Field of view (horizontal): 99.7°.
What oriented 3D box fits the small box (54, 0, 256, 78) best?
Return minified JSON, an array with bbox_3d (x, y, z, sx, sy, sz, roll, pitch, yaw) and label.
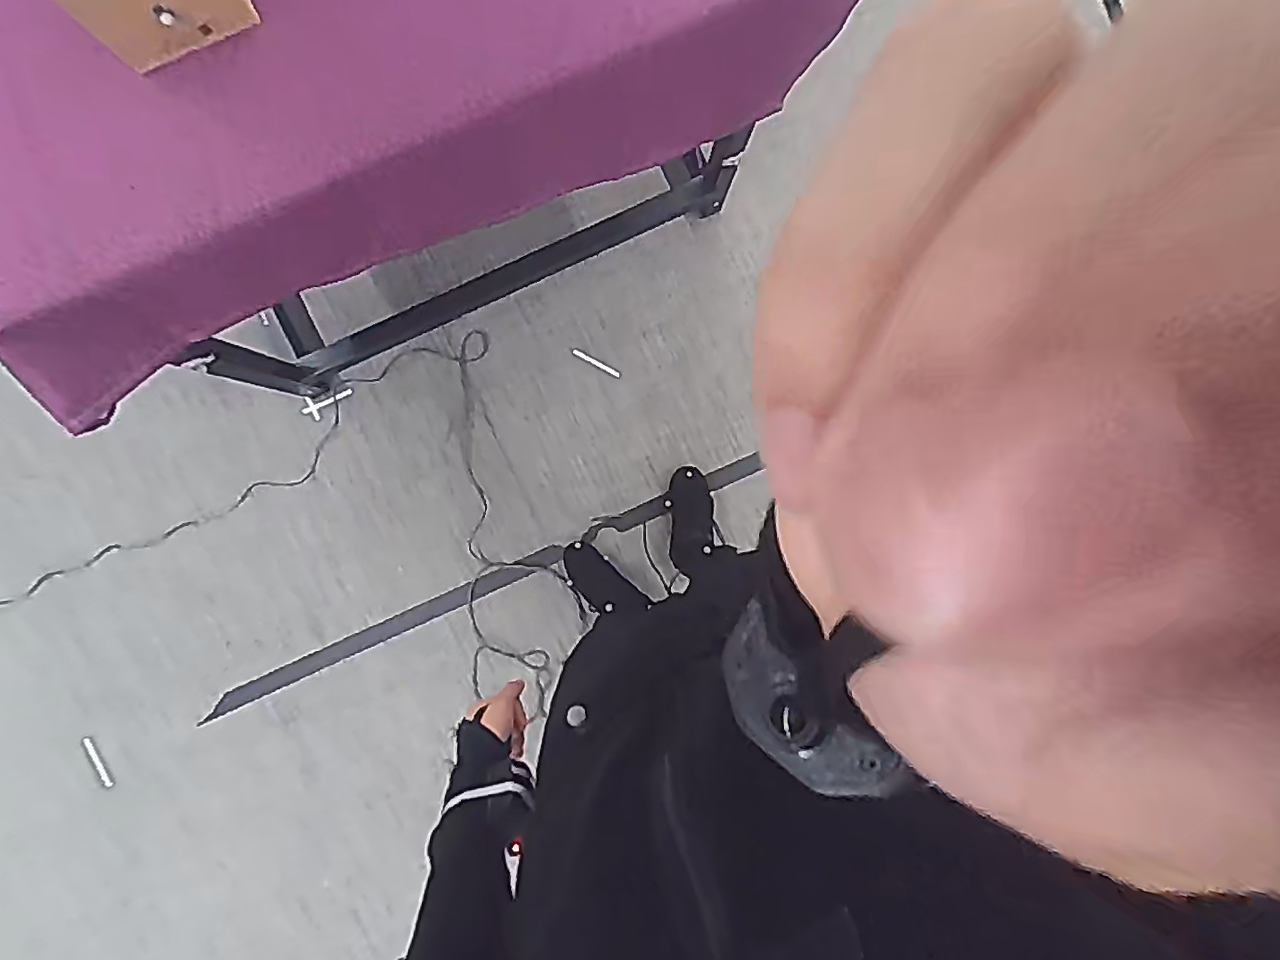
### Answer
[{"bbox_3d":[-0.582,-0.607,0.596,0.168,0.176,0.179,-26,92,-2],"label":"small box"}]
